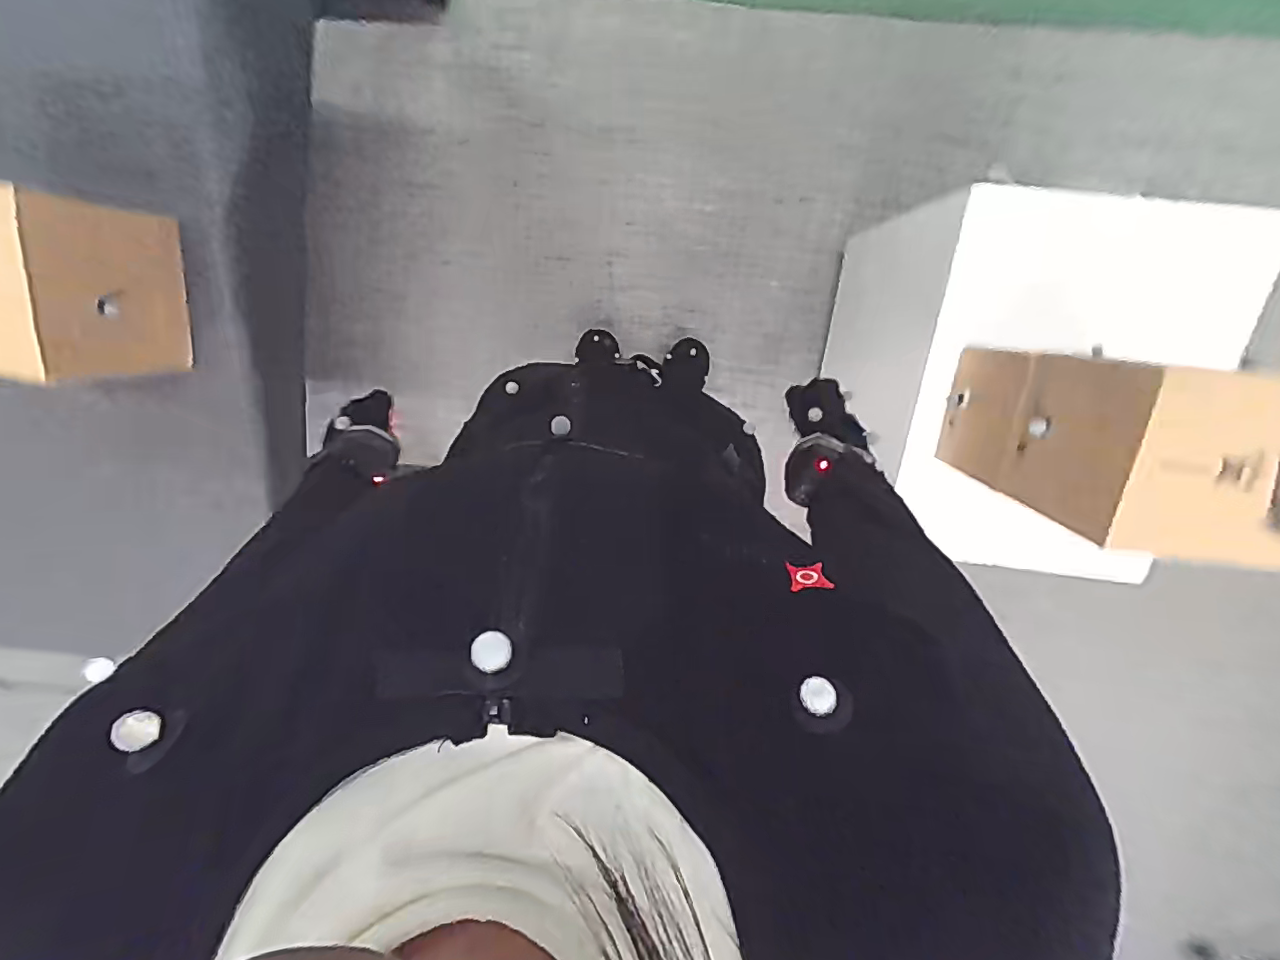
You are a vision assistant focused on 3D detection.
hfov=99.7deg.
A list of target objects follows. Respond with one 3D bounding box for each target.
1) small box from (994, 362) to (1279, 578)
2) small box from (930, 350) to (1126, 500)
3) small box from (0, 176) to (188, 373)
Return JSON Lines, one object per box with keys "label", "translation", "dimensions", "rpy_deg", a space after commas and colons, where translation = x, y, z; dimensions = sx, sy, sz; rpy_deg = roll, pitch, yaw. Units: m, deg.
{"label": "small box", "translation": [0.493, -0.021, 0.522], "dimensions": [0.179, 0.176, 0.168], "rpy_deg": [3, 108, 2]}
{"label": "small box", "translation": [0.503, -0.070, 0.679], "dimensions": [0.179, 0.176, 0.168], "rpy_deg": [6, 107, 4]}
{"label": "small box", "translation": [-0.636, -0.224, 0.581], "dimensions": [0.168, 0.176, 0.179], "rpy_deg": [9, 109, 2]}
